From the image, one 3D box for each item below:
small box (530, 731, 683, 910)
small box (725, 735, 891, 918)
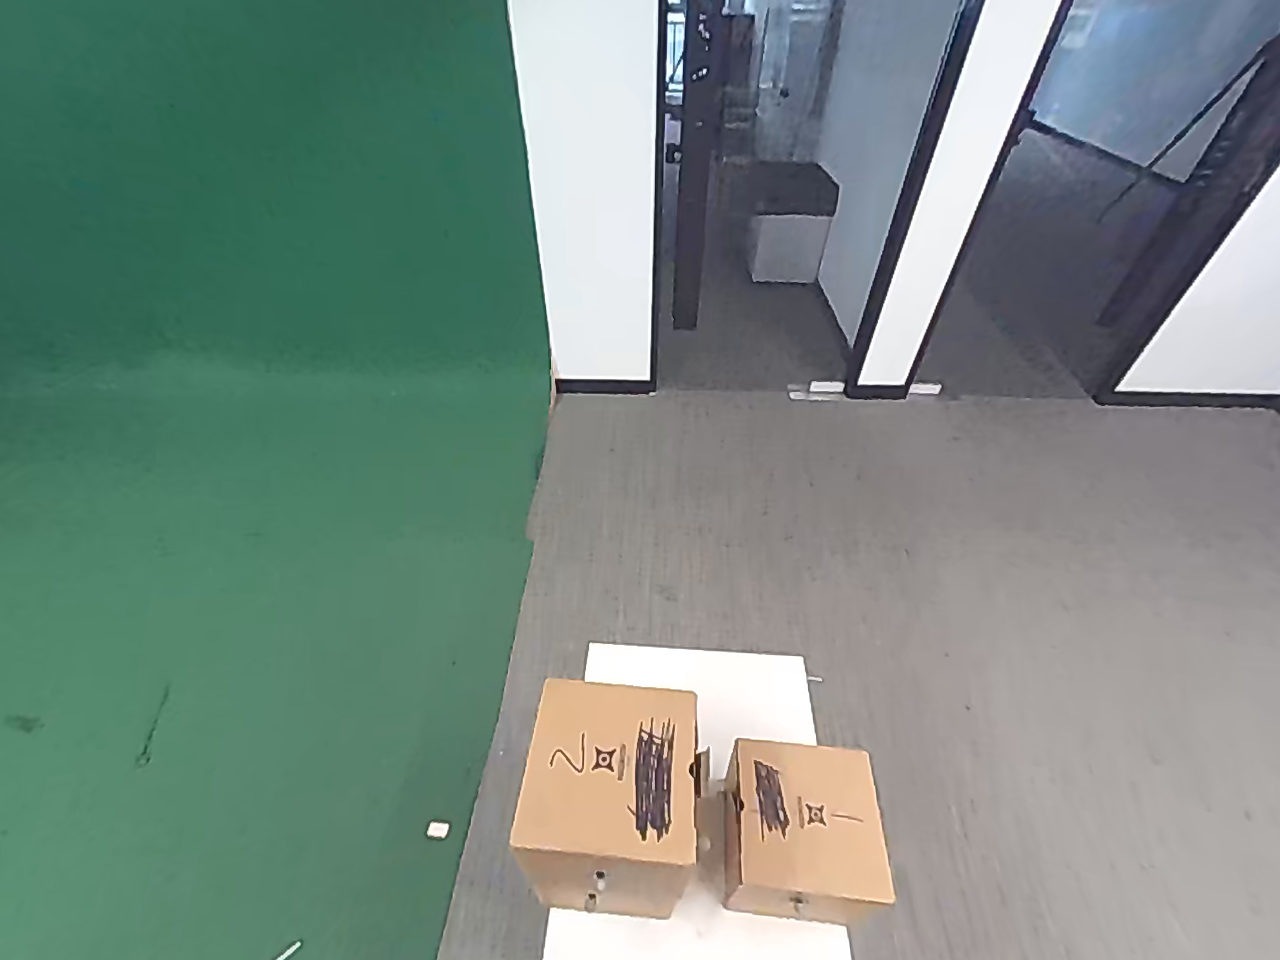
[{"bbox_3d":[-0.036,0.462,0.732,0.179,0.176,0.168,4,44,2],"label":"small box"},{"bbox_3d":[0.209,0.468,0.729,0.179,0.176,0.168,4,44,4],"label":"small box"}]
